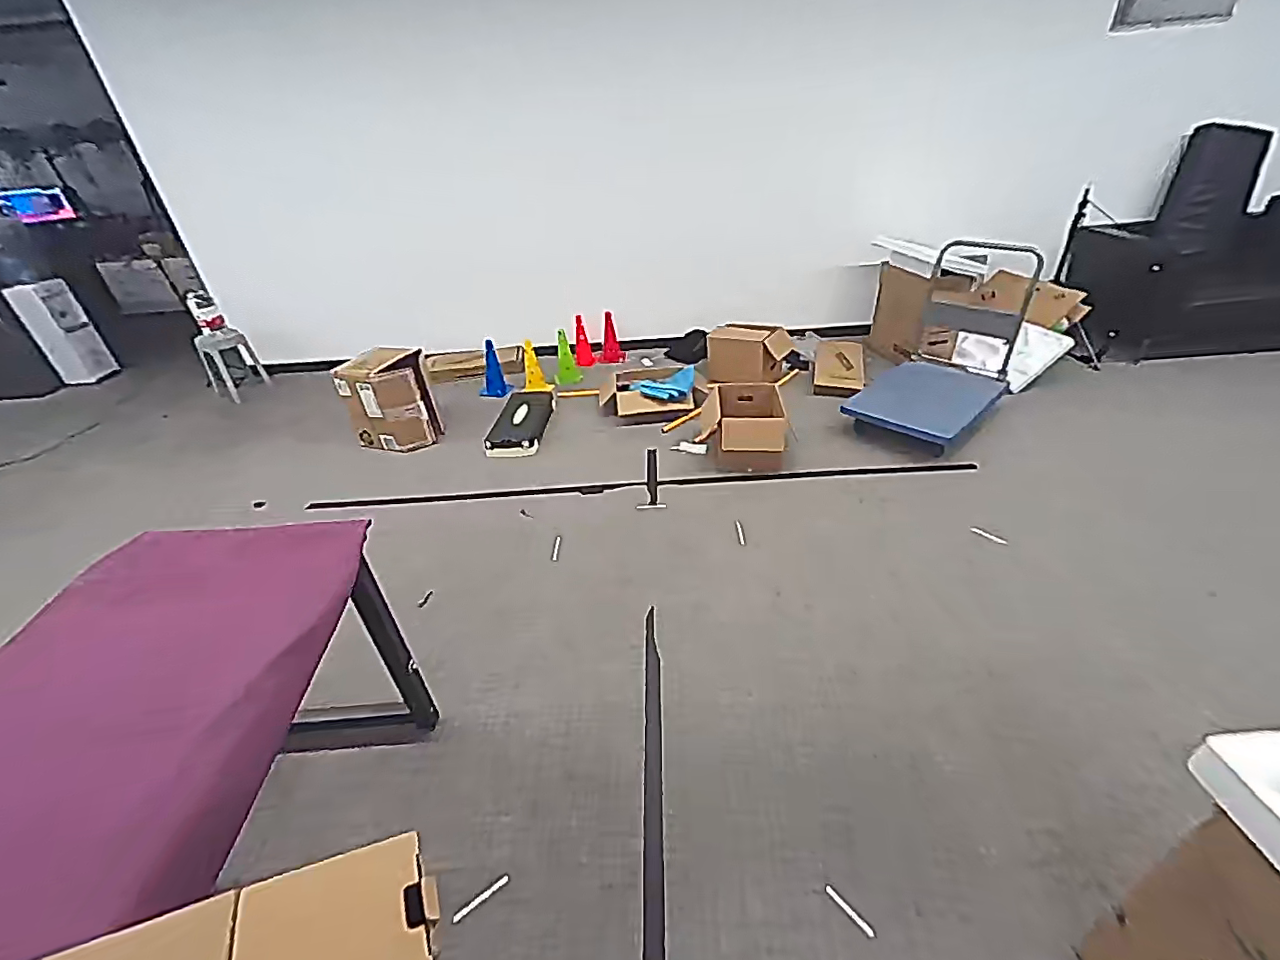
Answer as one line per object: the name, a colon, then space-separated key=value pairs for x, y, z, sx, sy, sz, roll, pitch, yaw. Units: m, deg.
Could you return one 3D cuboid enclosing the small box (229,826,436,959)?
small box: x=-0.314 y=0.521 z=0.568 sx=0.179 sy=0.176 sz=0.168 roll=-4 pitch=27 yaw=-29
